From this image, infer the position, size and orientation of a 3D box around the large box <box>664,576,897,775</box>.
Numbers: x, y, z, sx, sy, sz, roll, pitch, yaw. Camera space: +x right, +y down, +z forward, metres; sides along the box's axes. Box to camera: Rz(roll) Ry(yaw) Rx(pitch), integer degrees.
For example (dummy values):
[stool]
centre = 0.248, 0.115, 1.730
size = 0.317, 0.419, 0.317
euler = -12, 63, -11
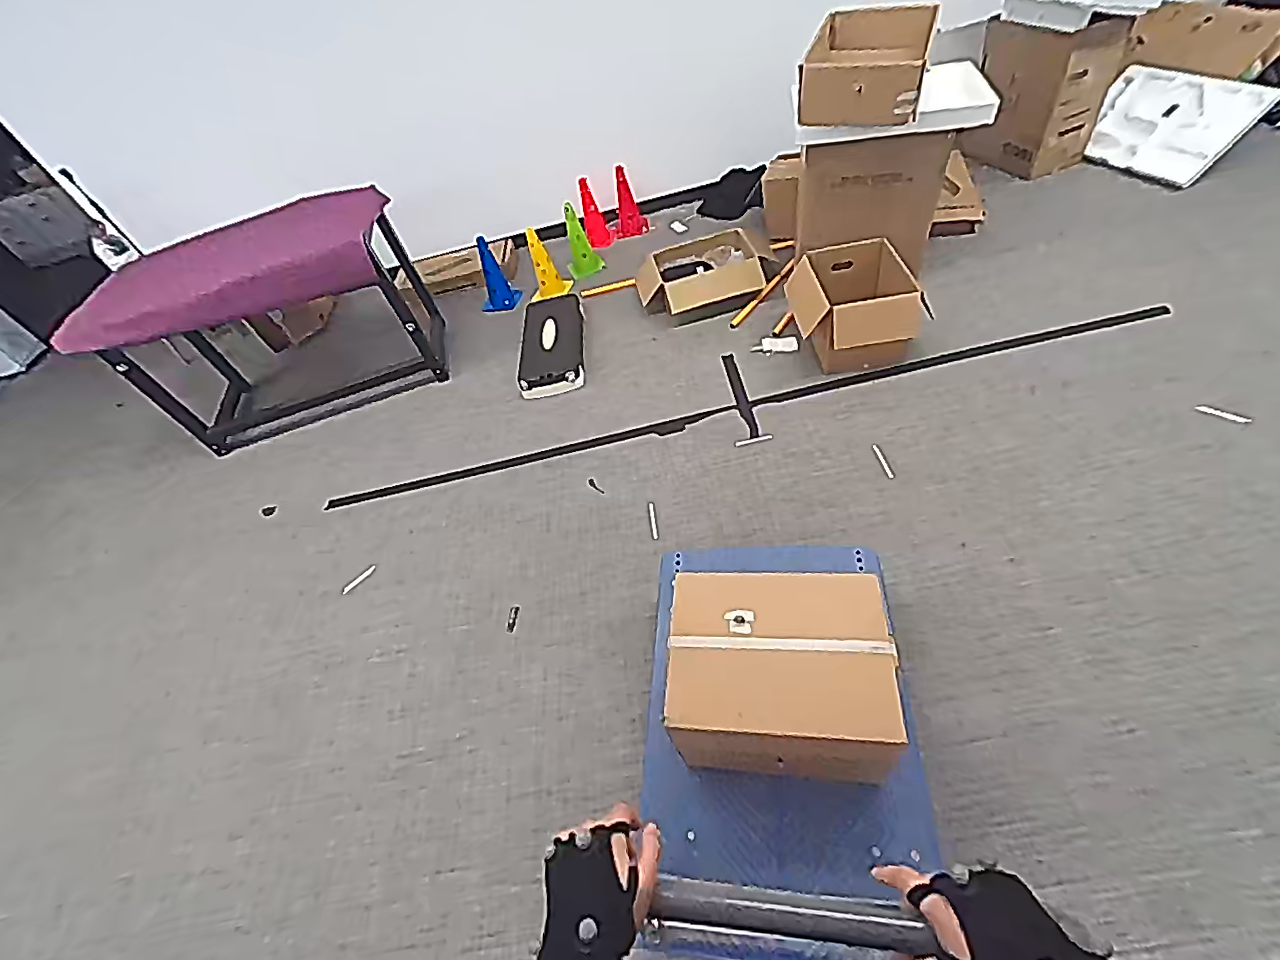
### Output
[large box]
centre = 0.284, 0.416, 1.146
size = 0.408, 0.320, 0.320
euler = -3, 49, 14
